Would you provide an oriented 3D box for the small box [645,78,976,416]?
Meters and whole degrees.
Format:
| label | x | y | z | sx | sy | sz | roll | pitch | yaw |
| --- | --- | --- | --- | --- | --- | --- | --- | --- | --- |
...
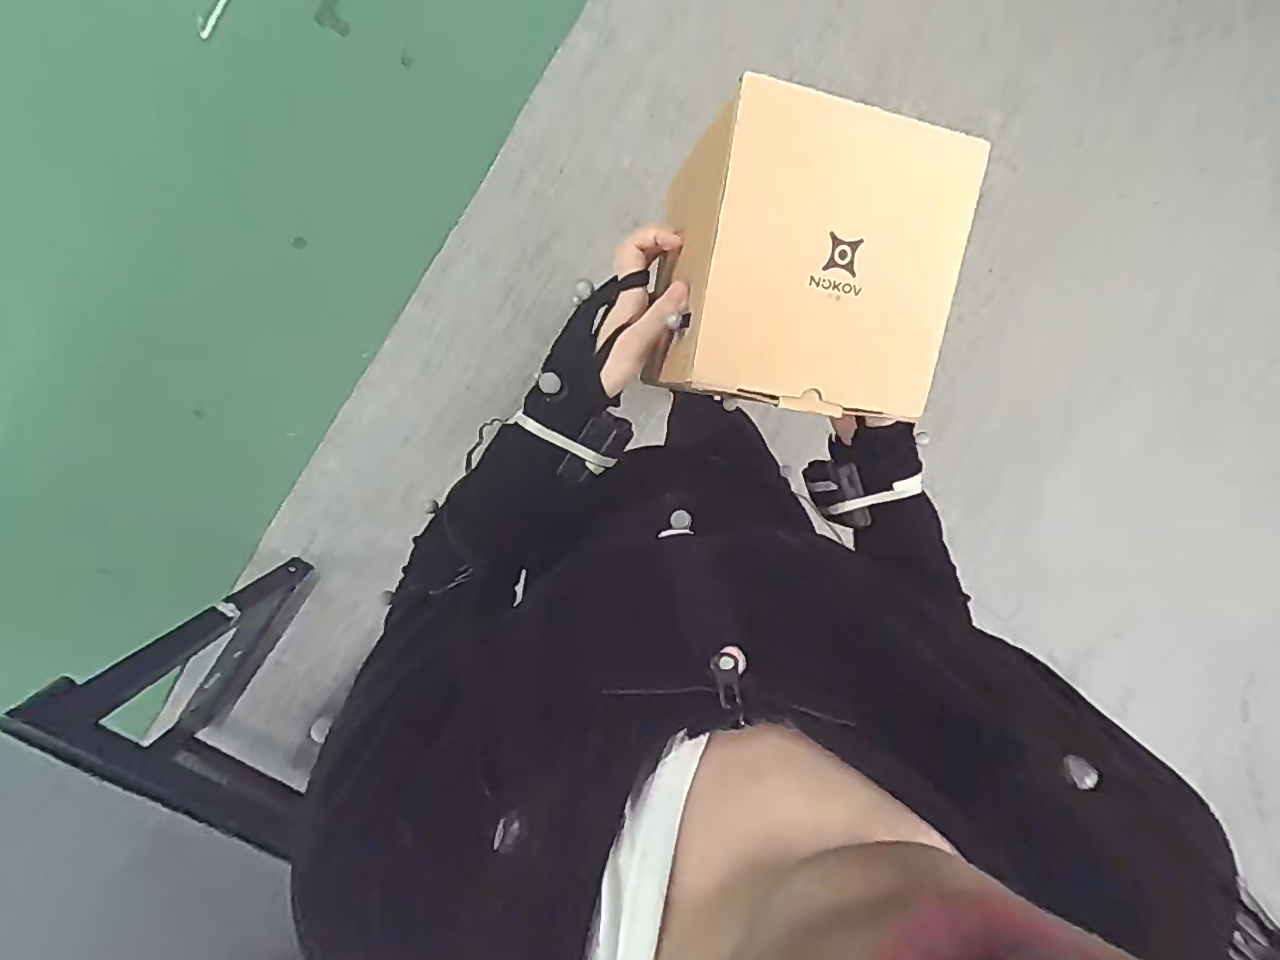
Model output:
| label | x | y | z | sx | sy | sz | roll | pitch | yaw |
| --- | --- | --- | --- | --- | --- | --- | --- | --- | --- |
| small box | 0.106 | -0.151 | 0.413 | 0.168 | 0.176 | 0.179 | 6 | 100 | -12 |
